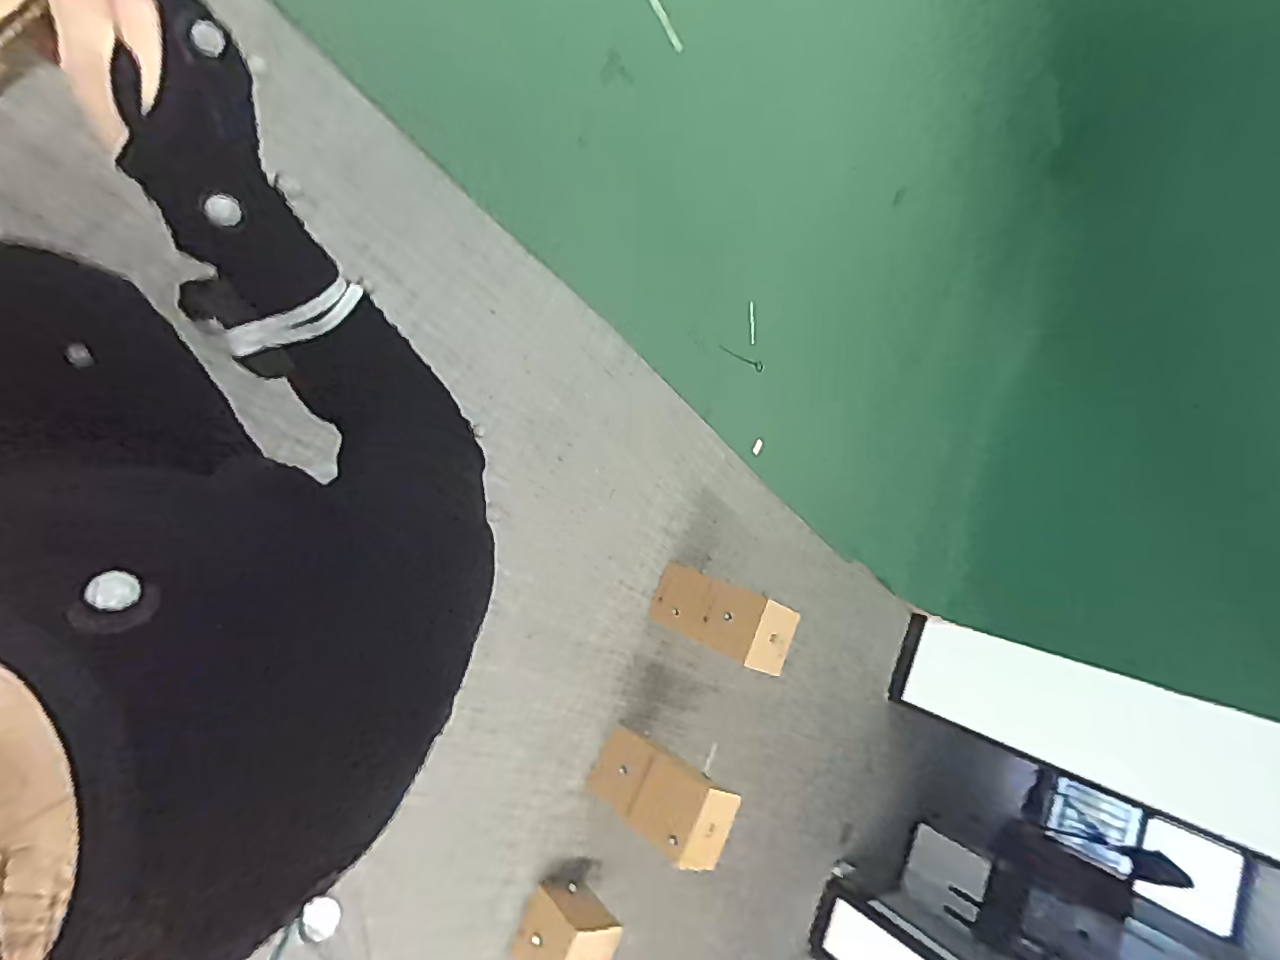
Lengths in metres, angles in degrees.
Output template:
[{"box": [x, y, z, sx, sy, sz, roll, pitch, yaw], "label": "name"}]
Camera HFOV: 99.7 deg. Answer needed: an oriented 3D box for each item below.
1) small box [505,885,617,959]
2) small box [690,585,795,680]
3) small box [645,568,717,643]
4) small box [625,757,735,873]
[{"box": [-0.195, 1.125, 1.316, 0.179, 0.176, 0.168, 39, 72, -40], "label": "small box"}, {"box": [0.253, 0.376, 1.355, 0.179, 0.176, 0.168, 33, 77, -42], "label": "small box"}, {"box": [0.143, 0.354, 1.475, 0.179, 0.176, 0.168, 34, 76, -42], "label": "small box"}, {"box": [0.093, 0.795, 1.292, 0.168, 0.176, 0.179, 41, 71, -41], "label": "small box"}]
